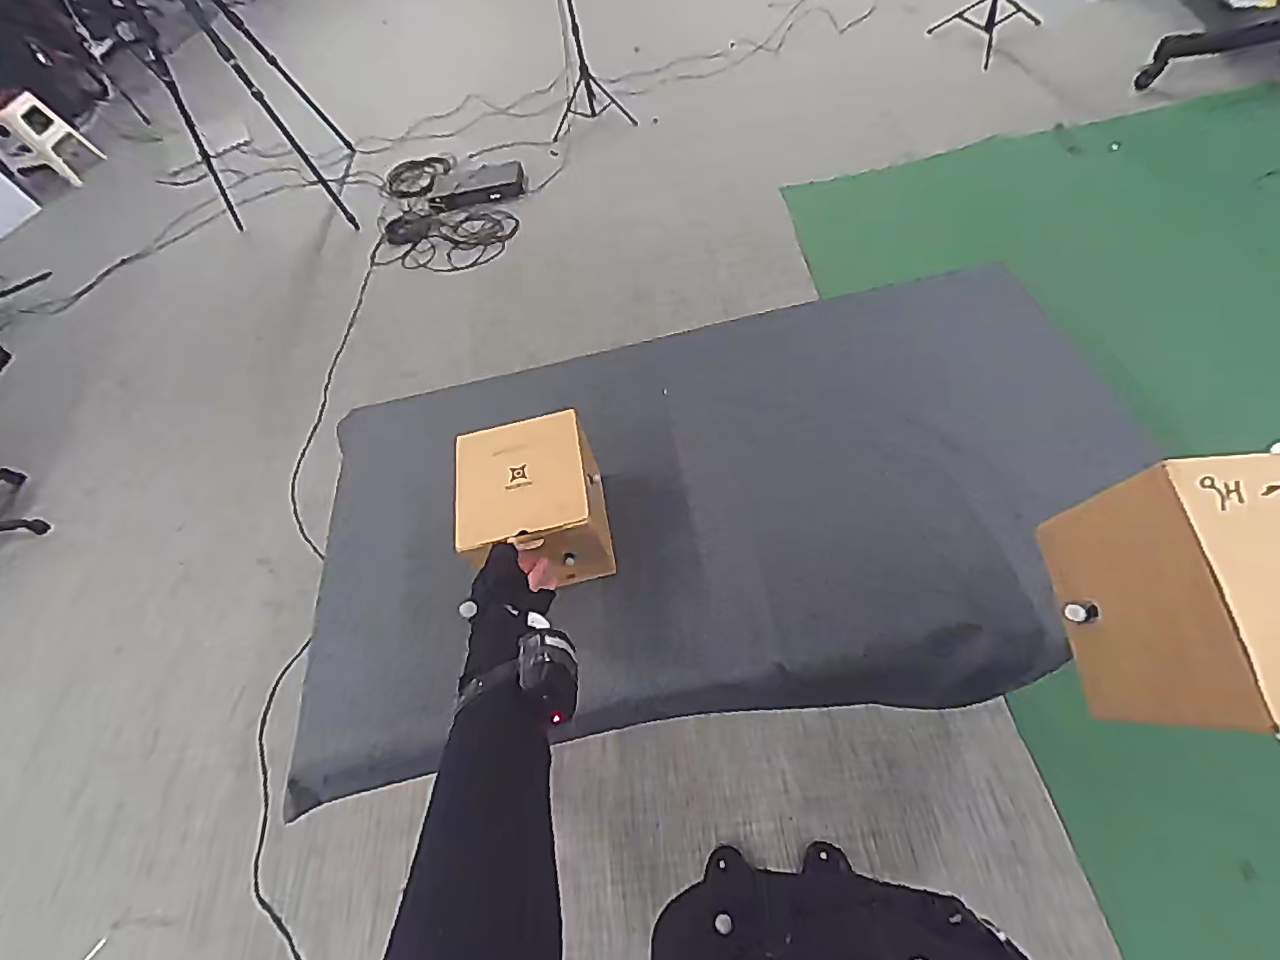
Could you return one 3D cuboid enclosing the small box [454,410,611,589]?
[{"bbox_3d":[-0.141,0.036,0.744,0.168,0.176,0.179,-13,56,1],"label":"small box"}]
